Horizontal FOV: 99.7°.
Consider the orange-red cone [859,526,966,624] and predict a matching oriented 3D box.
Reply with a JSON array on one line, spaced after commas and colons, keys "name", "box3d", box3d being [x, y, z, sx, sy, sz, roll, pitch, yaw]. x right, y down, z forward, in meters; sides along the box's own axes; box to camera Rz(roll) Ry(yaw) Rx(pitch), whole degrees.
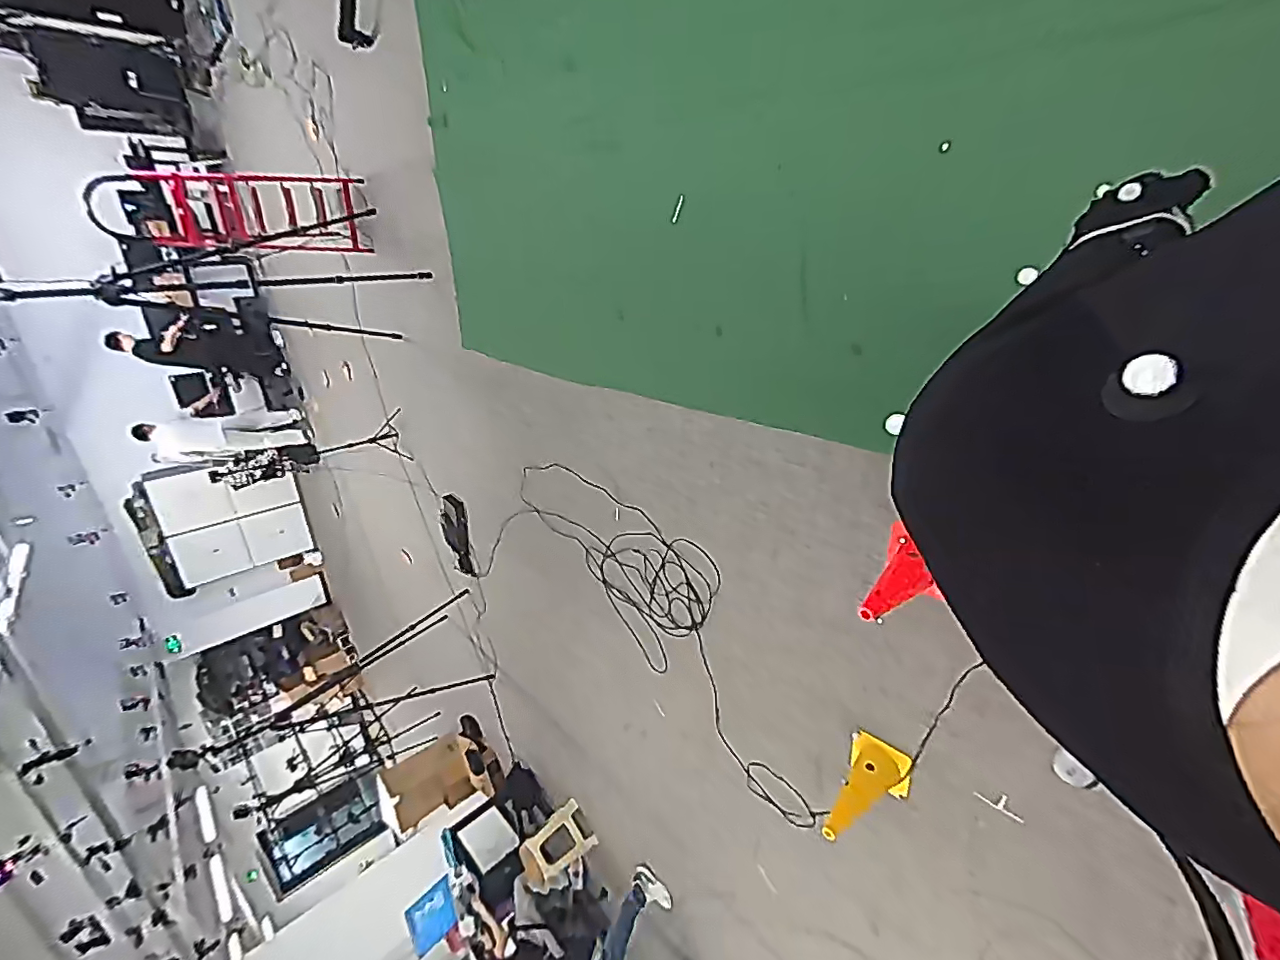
[{"name": "orange-red cone", "box3d": [0.693, 0.295, 1.451, 0.198, 0.360, 0.199, 23, 123, 43]}]

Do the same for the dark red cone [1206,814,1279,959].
[{"name": "dark red cone", "box3d": [1.236, 0.873, 1.041, 0.202, 0.394, 0.201, 15, 116, 45]}]
